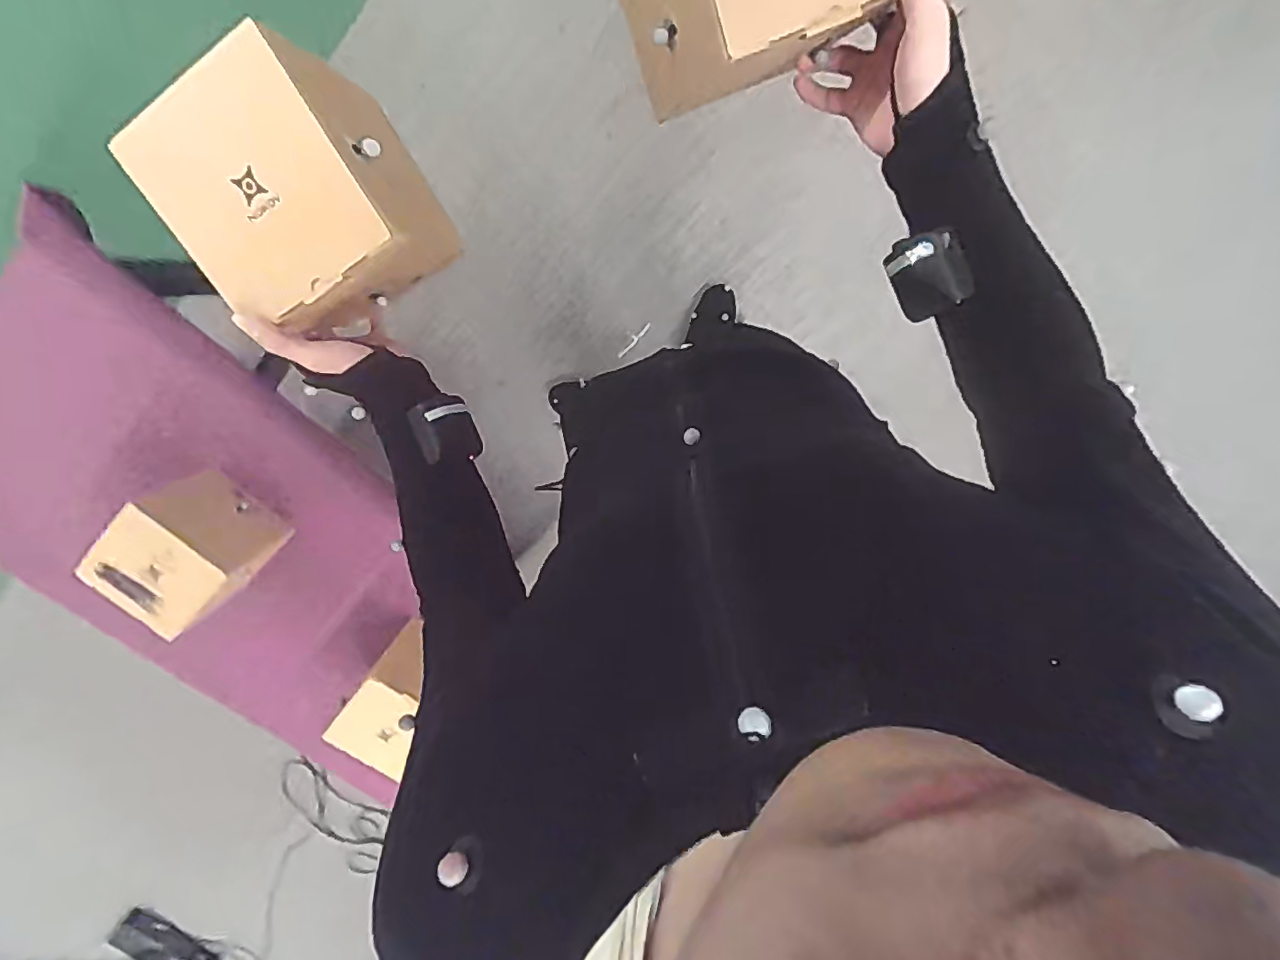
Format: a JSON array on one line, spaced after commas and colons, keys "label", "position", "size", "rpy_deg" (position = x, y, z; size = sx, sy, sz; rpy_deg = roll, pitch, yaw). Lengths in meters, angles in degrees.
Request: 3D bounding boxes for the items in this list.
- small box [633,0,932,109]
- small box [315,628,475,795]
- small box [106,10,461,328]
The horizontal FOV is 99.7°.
[{"label": "small box", "position": [0.090, -0.405, 0.398], "size": [0.168, 0.176, 0.179], "rpy_deg": [-24, 114, -6]}, {"label": "small box", "position": [-0.421, 0.405, 0.962], "size": [0.168, 0.176, 0.179], "rpy_deg": [38, 107, -12]}, {"label": "small box", "position": [-0.303, -0.261, 0.503], "size": [0.168, 0.176, 0.179], "rpy_deg": [-27, 107, 12]}]
